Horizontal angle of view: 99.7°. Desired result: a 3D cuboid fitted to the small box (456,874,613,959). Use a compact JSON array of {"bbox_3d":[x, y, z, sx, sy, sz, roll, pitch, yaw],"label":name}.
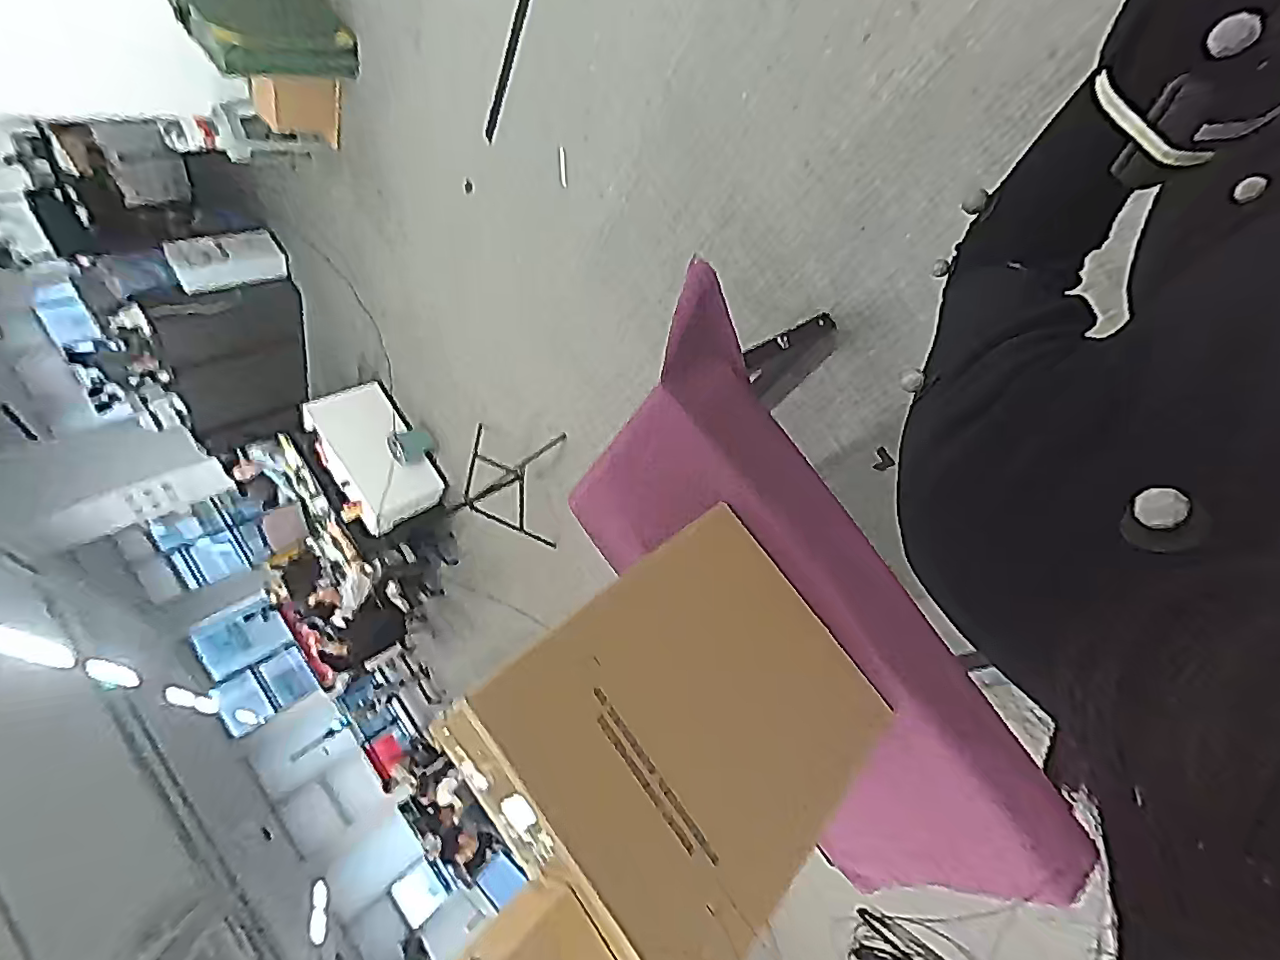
[{"bbox_3d":[-0.142,0.717,0.772,0.179,0.176,0.168,54,142,7],"label":"small box"}]
